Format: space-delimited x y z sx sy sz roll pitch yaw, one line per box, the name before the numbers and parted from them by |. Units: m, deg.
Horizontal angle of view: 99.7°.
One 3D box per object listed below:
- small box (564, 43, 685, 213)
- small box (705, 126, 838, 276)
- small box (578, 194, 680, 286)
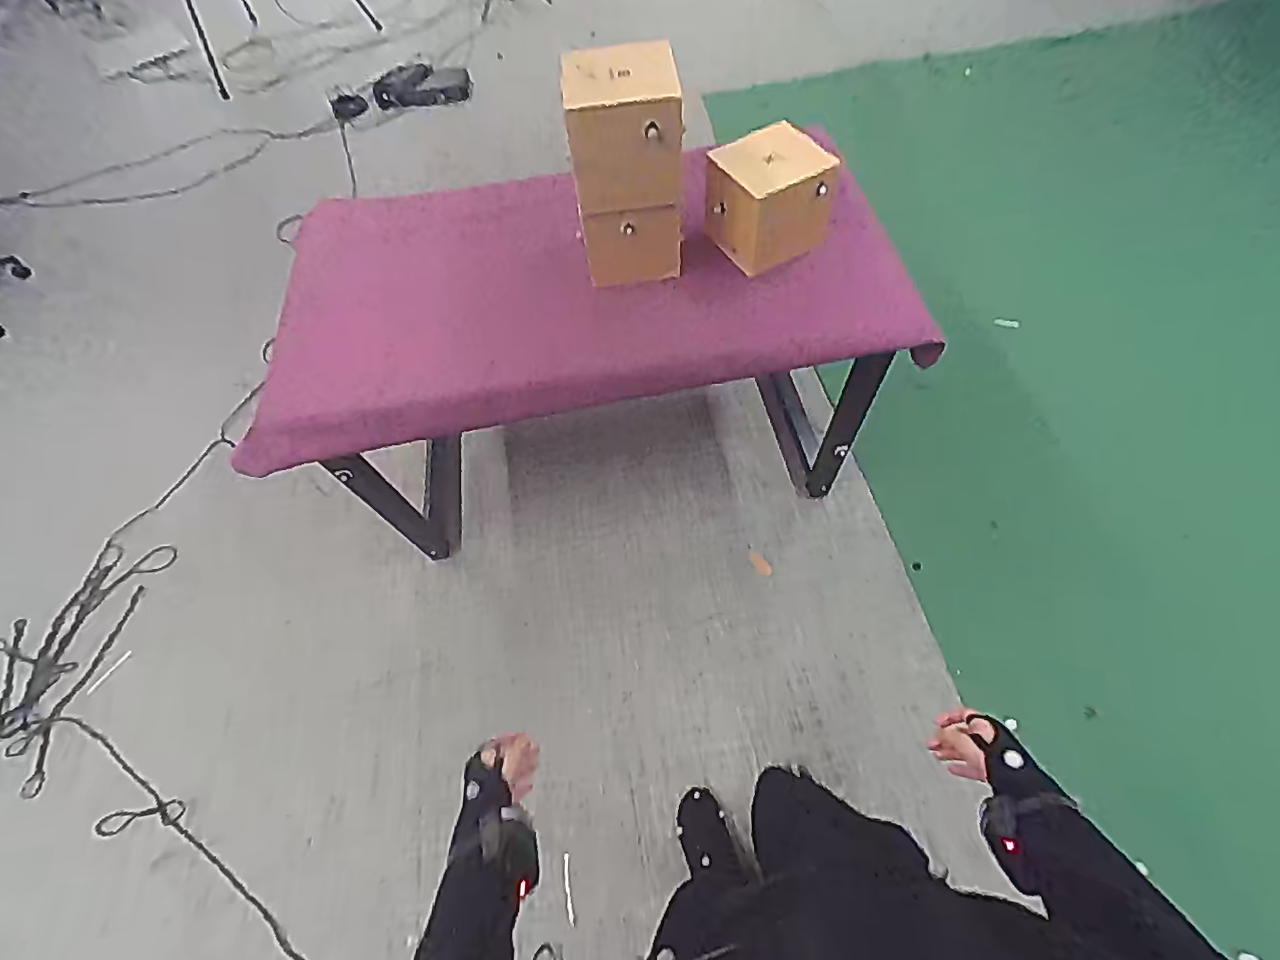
small box | -0.023 -0.562 0.876 0.179 0.176 0.168 -6 61 2
small box | 0.238 -0.520 1.022 0.179 0.176 0.168 -27 62 -10
small box | -0.019 -0.489 1.024 0.179 0.176 0.168 -6 61 1
